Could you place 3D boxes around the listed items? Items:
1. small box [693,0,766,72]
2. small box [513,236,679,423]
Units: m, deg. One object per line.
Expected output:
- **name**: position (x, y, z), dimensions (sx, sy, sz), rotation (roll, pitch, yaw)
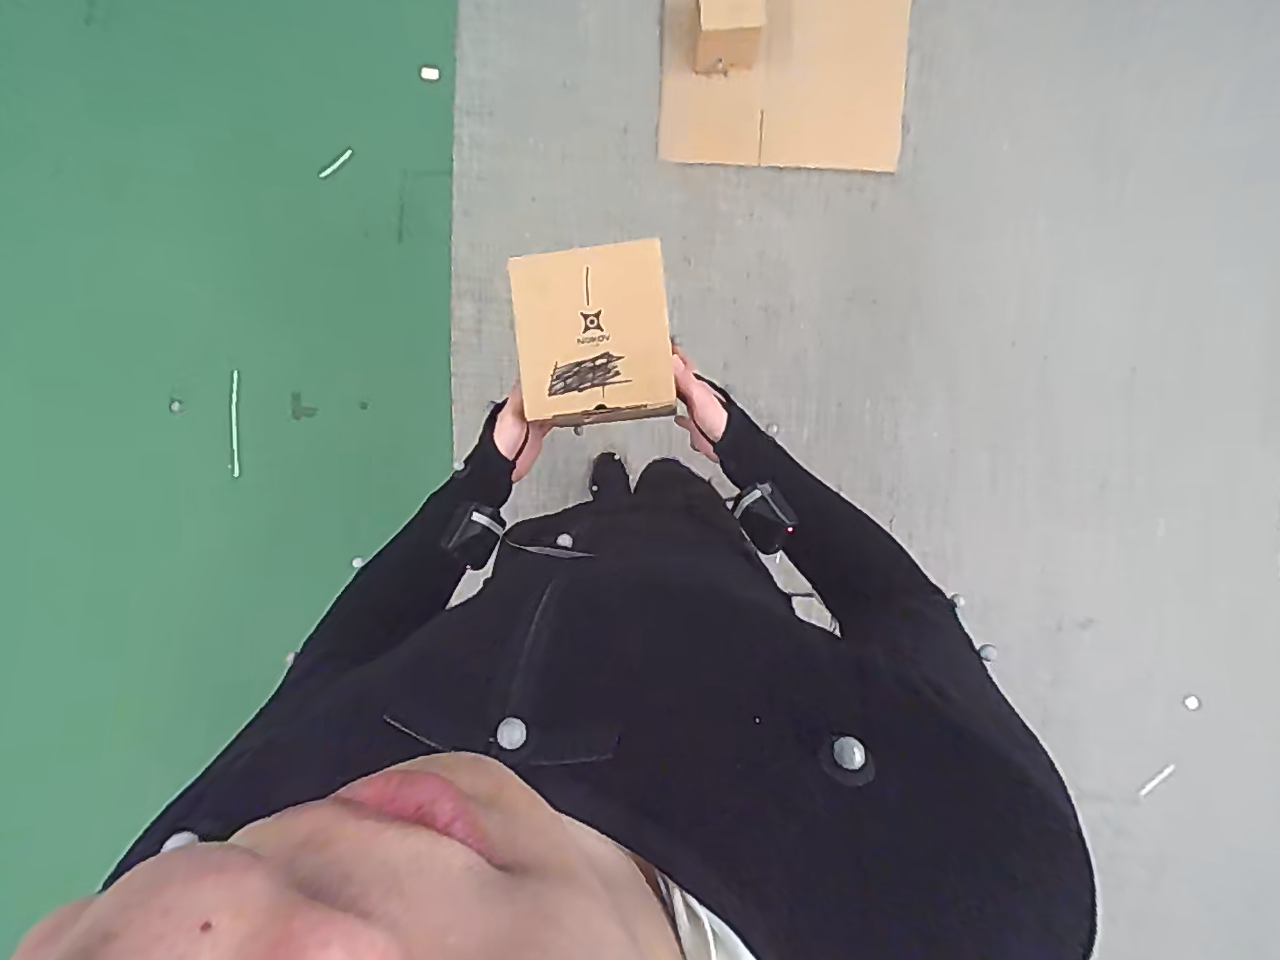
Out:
- **small box**: position (0.233, -1.235, 1.436), dimensions (0.168, 0.176, 0.179), rotation (-4, 94, 1)
- **small box**: position (-0.041, -0.162, 0.645), dimensions (0.168, 0.176, 0.179), rotation (-5, 91, 4)
